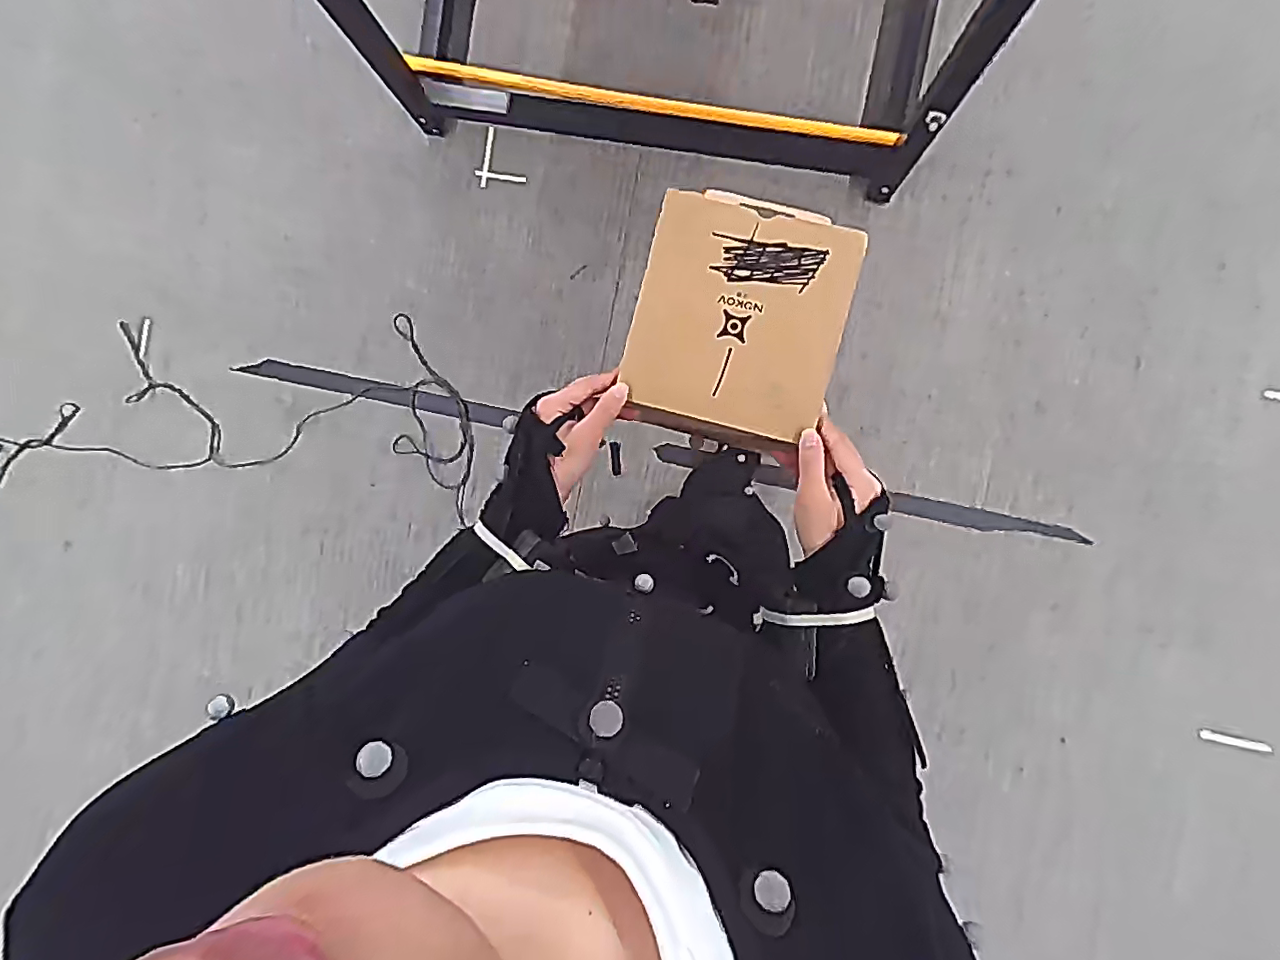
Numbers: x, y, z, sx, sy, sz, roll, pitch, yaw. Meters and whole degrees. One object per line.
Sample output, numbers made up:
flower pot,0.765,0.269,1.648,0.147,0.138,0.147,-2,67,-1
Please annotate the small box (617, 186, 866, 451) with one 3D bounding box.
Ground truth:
small box,0.085,-0.134,0.513,0.168,0.176,0.179,15,91,5
